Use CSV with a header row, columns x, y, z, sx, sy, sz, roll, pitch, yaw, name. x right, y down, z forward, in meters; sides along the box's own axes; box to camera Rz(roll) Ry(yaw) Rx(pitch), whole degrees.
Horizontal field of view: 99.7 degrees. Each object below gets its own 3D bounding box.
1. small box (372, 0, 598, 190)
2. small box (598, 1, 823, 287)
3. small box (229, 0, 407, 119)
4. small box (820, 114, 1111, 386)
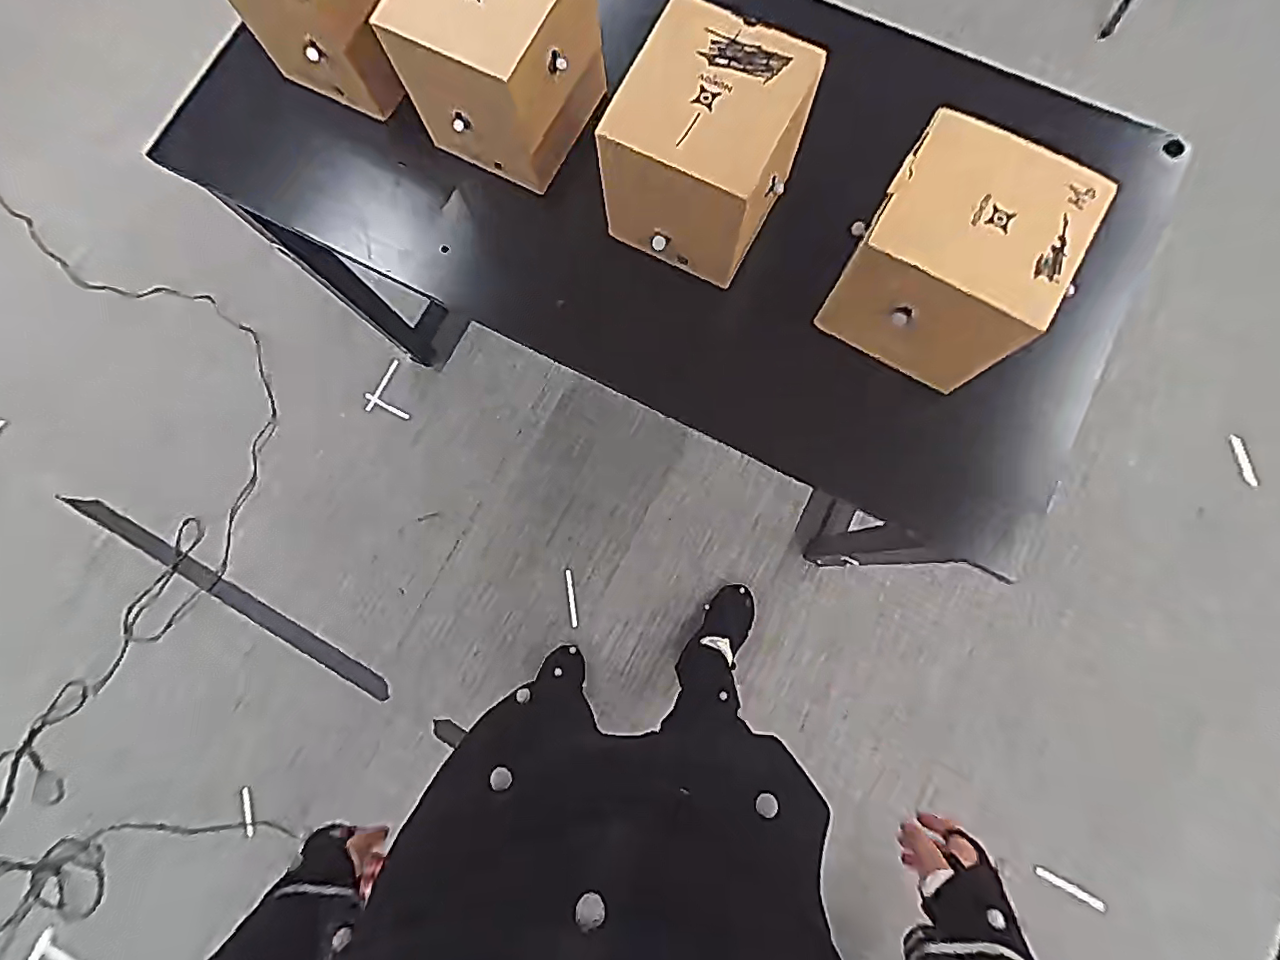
x,y,z,sx,sy,sz,roll,pitch,yaw,name
-0.160,-0.484,0.629,0.168,0.176,0.179,27,82,5,small box
0.070,-0.355,0.600,0.168,0.176,0.179,27,83,6,small box
-0.371,-0.593,0.657,0.168,0.176,0.179,26,81,5,small box
0.317,-0.224,0.569,0.179,0.176,0.168,30,83,8,small box
